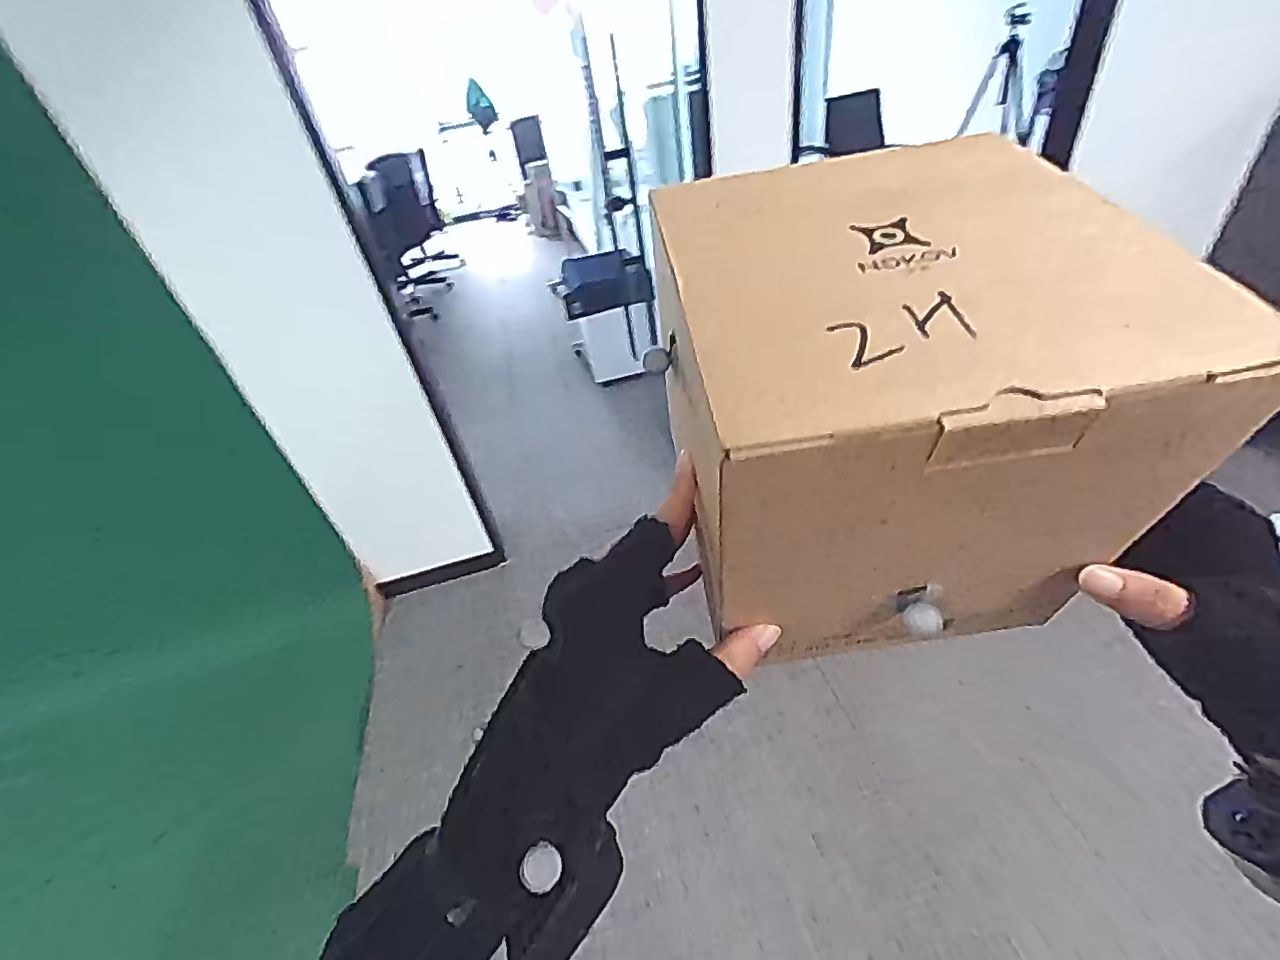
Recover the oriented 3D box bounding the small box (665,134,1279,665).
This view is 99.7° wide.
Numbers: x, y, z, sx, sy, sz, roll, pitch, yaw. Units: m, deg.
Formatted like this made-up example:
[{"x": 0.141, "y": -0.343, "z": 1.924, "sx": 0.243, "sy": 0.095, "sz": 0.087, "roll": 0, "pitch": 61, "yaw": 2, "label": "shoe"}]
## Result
[{"x": 0.107, "y": -0.033, "z": 0.262, "sx": 0.168, "sy": 0.176, "sz": 0.179, "roll": -9, "pitch": 51, "yaw": 2, "label": "small box"}]
